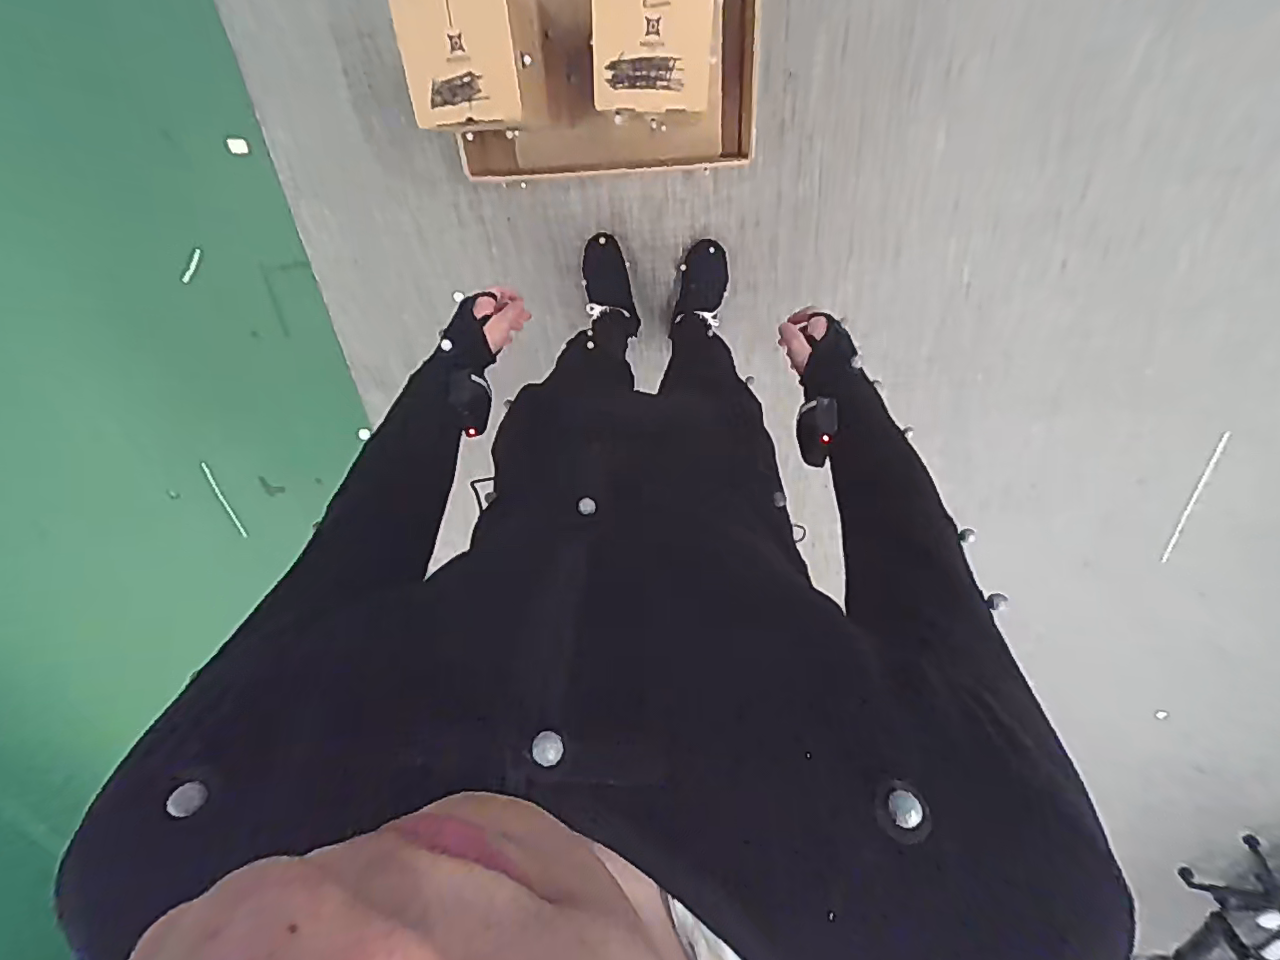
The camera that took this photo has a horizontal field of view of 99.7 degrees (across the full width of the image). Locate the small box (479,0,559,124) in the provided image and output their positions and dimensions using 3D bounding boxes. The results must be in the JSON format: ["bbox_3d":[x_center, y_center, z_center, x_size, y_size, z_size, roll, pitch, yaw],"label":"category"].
[{"bbox_3d":[-0.243,-0.738,0.955,0.168,0.176,0.179,0,122,3],"label":"small box"}]

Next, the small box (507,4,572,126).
[{"bbox_3d":[-0.235,-0.826,1.090,0.168,0.176,0.179,1,121,4],"label":"small box"}]

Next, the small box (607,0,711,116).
[{"bbox_3d":[0.033,-0.741,0.935,0.168,0.176,0.179,0,123,4],"label":"small box"}]

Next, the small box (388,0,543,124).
[{"bbox_3d":[-0.251,-0.648,0.817,0.168,0.176,0.179,-1,121,4],"label":"small box"}]
